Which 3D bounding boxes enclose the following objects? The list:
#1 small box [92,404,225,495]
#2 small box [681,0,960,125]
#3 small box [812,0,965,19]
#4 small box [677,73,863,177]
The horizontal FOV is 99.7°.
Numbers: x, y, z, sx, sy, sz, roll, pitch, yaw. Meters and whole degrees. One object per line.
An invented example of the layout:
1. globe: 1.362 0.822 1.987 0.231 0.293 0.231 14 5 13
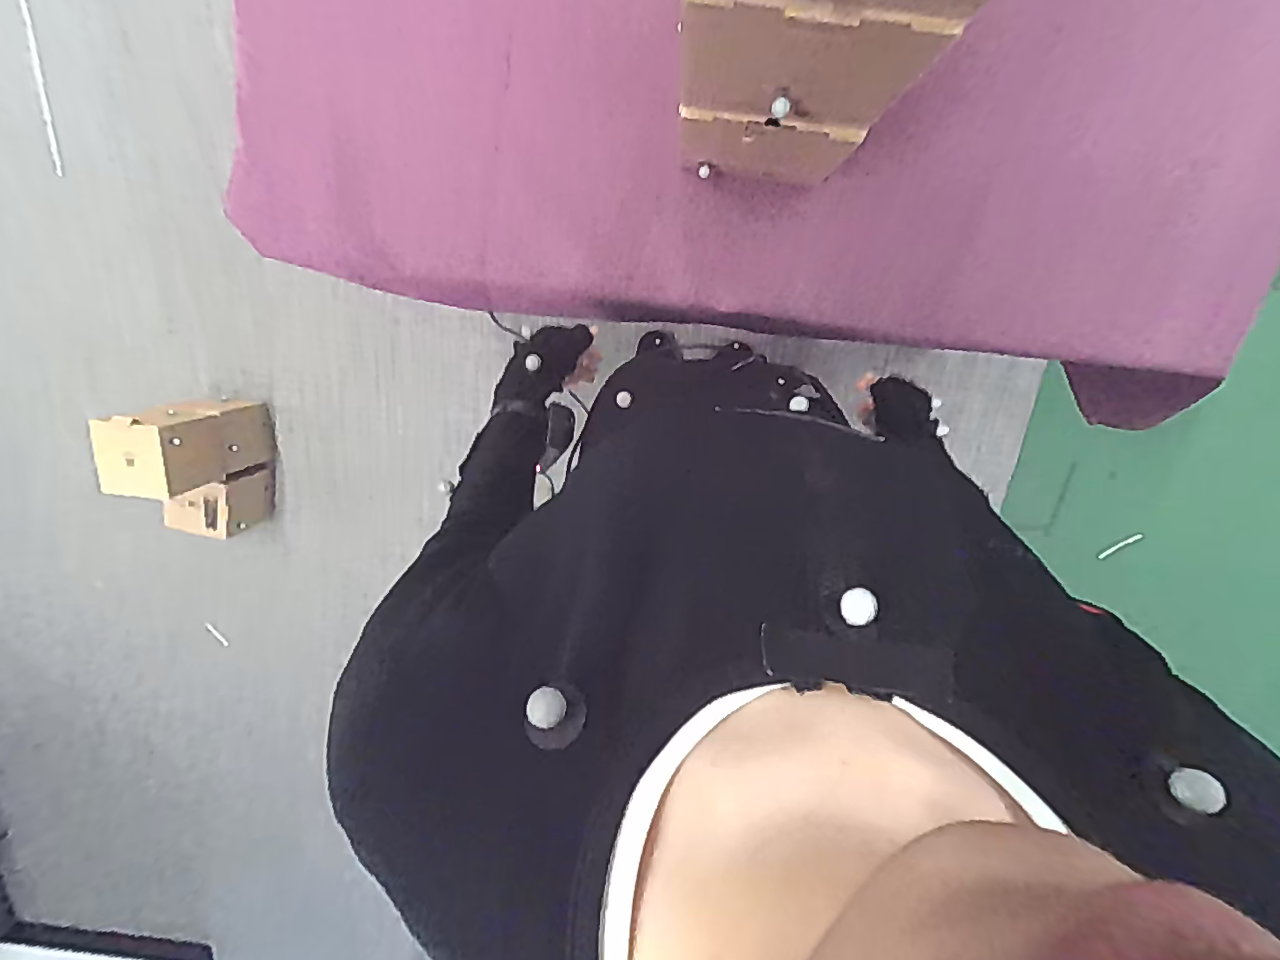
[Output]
1. small box: -1.145 -0.077 1.304 0.168 0.176 0.179 6 106 2
2. small box: 0.121 -0.380 0.371 0.168 0.176 0.179 9 107 2
3. small box: 0.112 -0.338 0.213 0.168 0.176 0.179 9 107 2
4. small box: 0.132 -0.418 0.530 0.168 0.176 0.179 9 106 1
